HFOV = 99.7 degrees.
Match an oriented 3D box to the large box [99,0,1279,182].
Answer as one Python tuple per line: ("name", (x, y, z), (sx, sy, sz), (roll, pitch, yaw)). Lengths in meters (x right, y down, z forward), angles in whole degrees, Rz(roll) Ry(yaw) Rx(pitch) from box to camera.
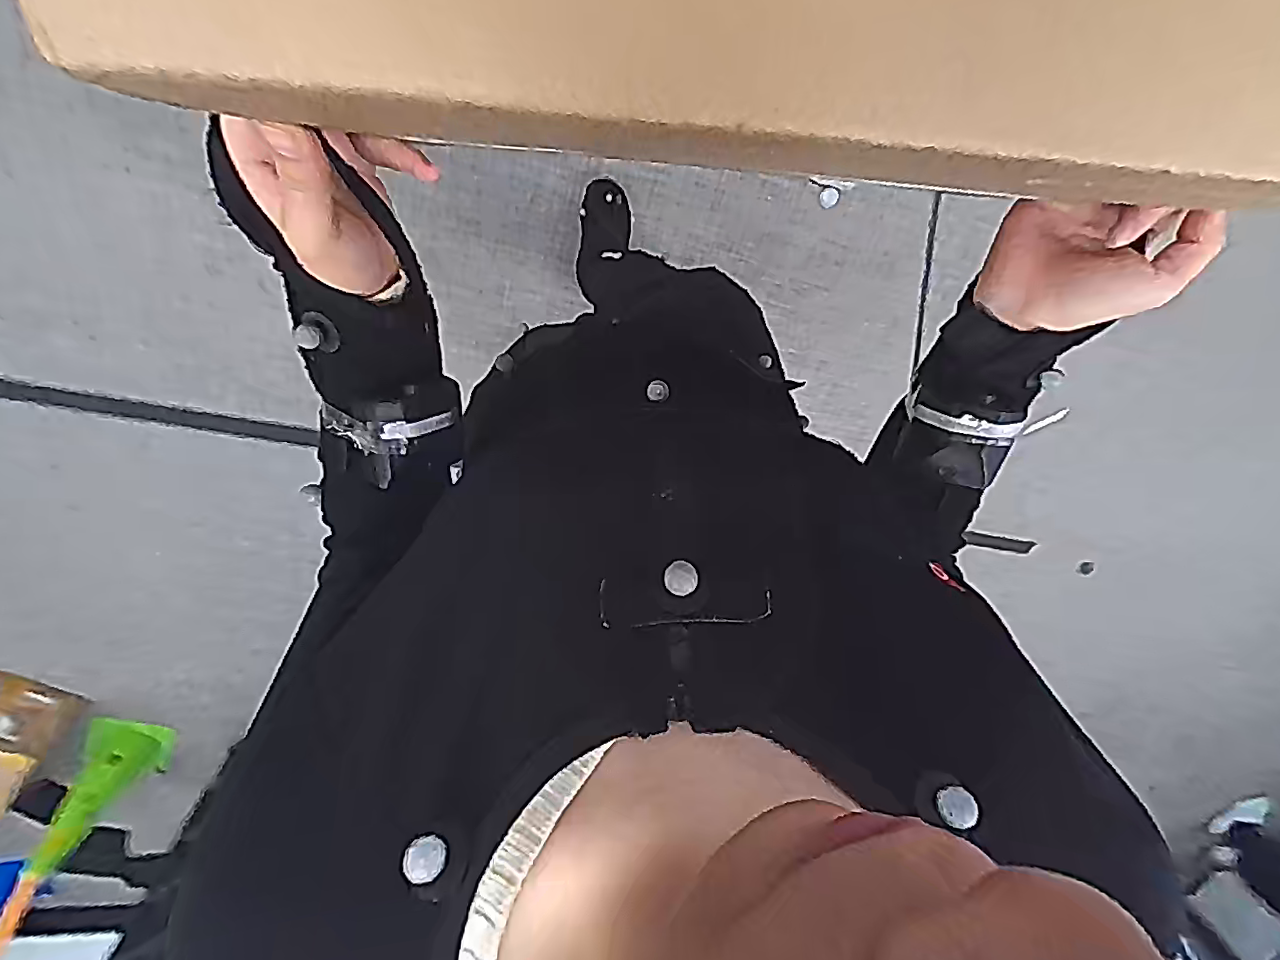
("large box", (0.072, -0.302, 0.187), (0.408, 0.320, 0.320), (1, 121, -7))
